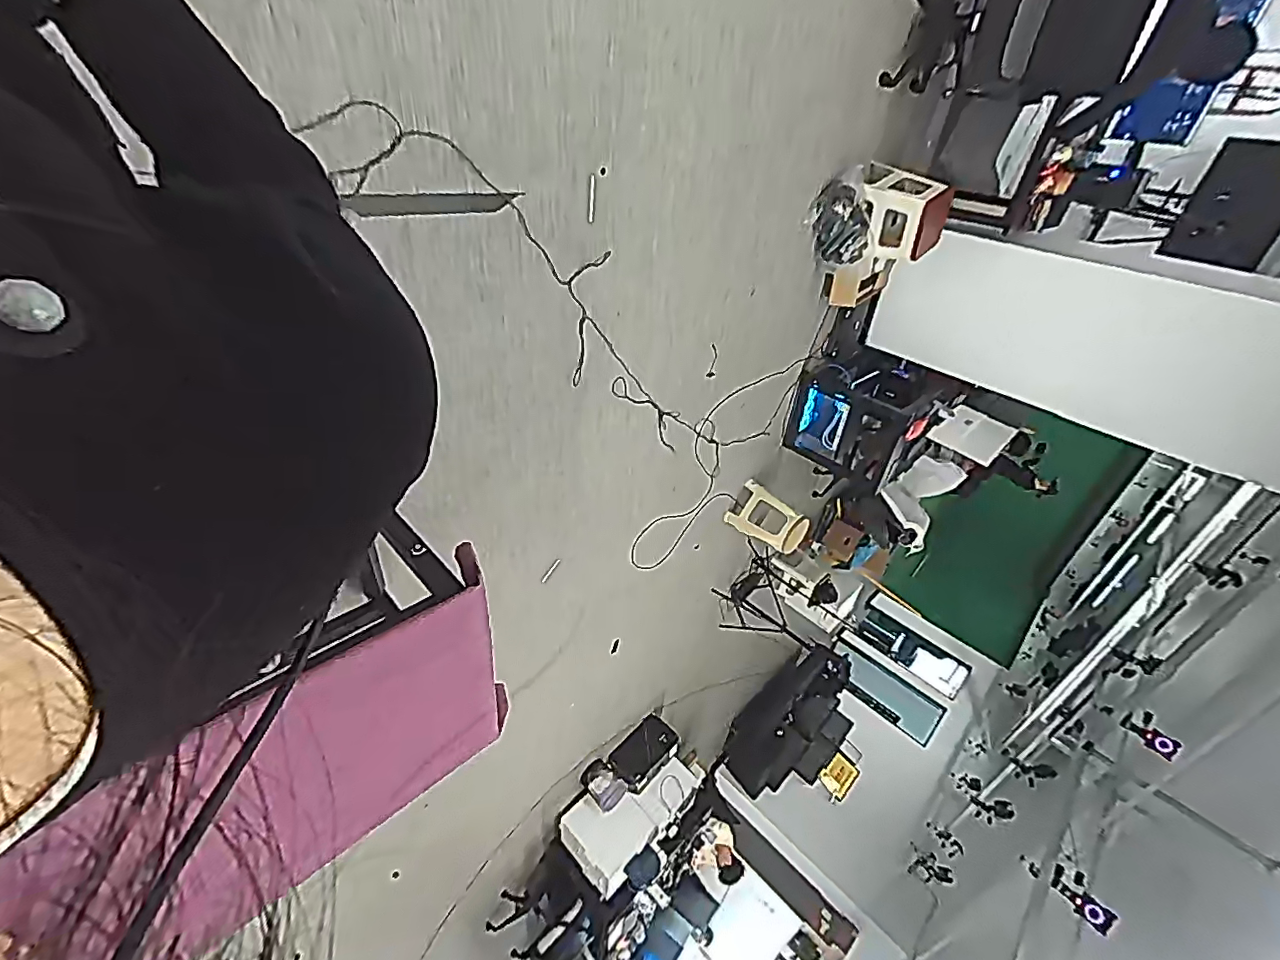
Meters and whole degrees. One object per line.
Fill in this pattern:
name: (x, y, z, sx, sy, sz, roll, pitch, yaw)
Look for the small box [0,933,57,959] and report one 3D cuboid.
small box: (-0.926, 0.786, 0.734, 0.179, 0.176, 0.168, -26, 137, -40)
